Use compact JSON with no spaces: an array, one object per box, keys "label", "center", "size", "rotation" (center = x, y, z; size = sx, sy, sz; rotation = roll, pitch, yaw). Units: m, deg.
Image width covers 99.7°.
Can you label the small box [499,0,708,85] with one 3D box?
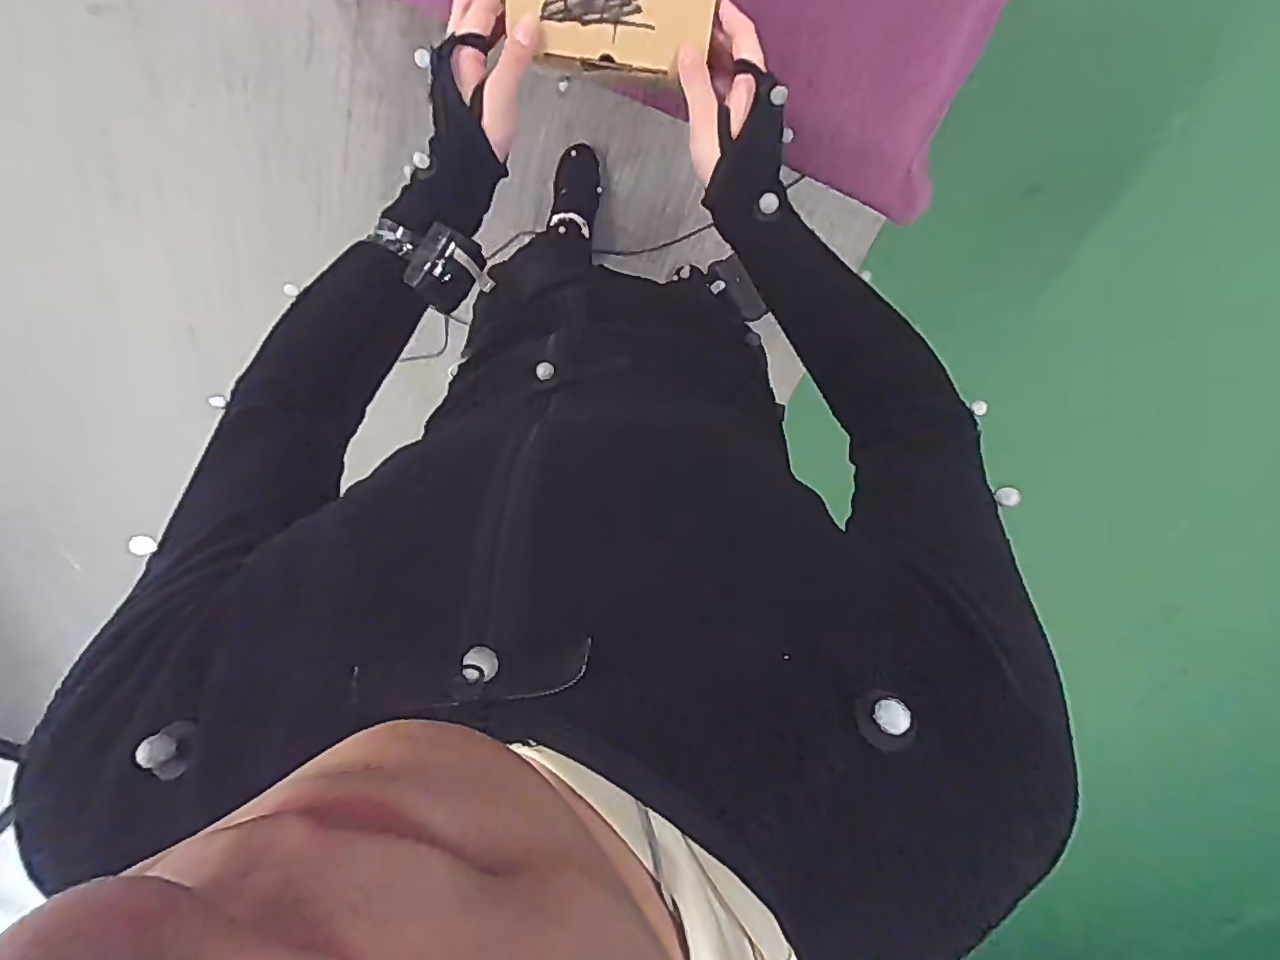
[{"label":"small box","center":[-0.021,-0.460,0.463],"size":[0.168,0.176,0.179],"rotation":[6,121,-5]}]
